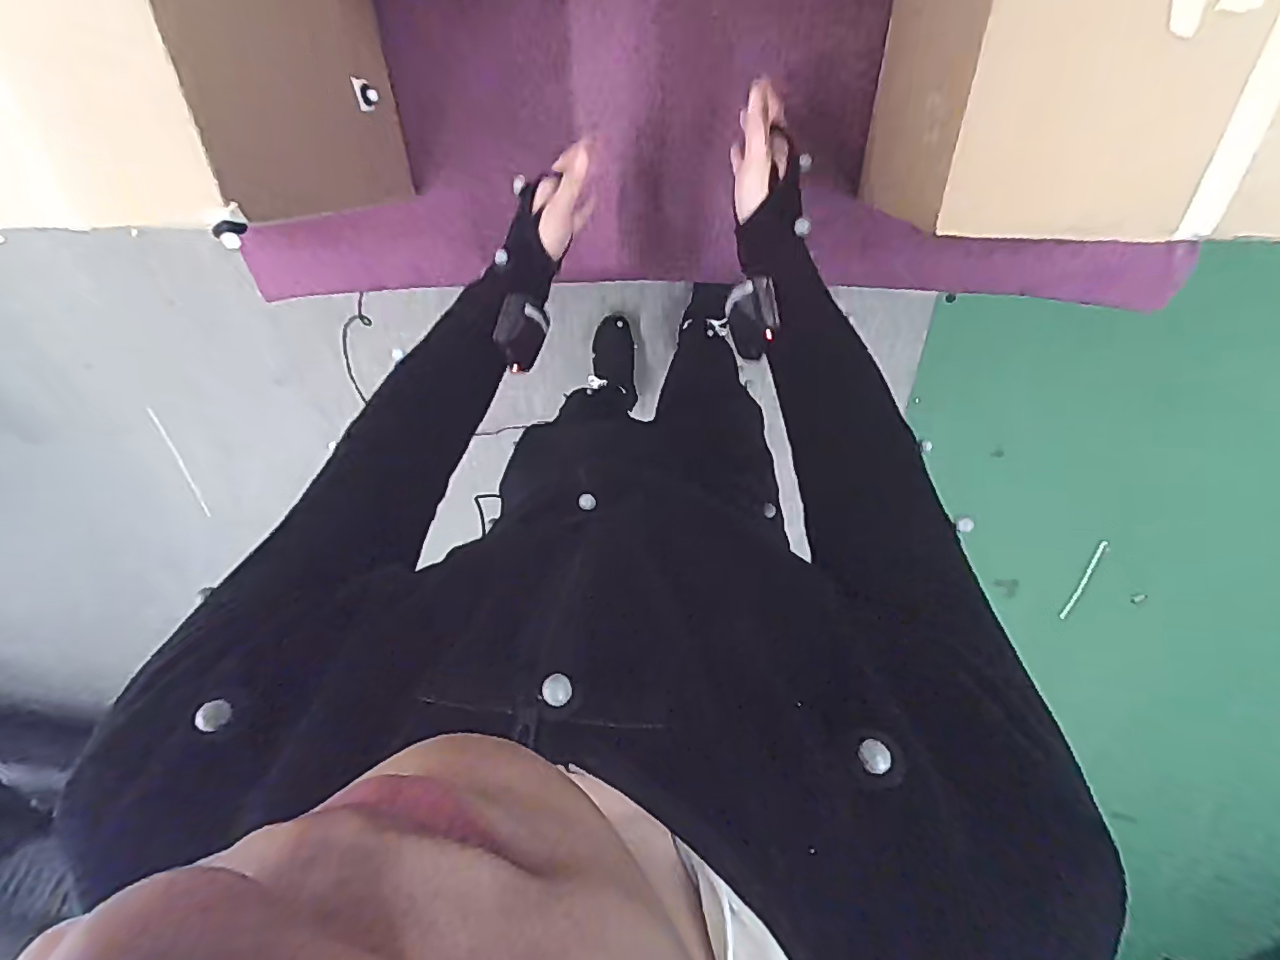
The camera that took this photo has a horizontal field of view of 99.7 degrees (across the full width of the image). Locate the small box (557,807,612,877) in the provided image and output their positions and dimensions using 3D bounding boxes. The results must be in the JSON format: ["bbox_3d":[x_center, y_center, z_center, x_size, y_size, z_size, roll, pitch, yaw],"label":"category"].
[{"bbox_3d":[-0.203,1.376,2.049,0.168,0.176,0.179,1,123,8],"label":"small box"}]

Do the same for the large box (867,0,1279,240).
[{"bbox_3d":[0.387,-0.412,0.385,0.320,0.320,0.408,4,123,8],"label":"large box"}]
